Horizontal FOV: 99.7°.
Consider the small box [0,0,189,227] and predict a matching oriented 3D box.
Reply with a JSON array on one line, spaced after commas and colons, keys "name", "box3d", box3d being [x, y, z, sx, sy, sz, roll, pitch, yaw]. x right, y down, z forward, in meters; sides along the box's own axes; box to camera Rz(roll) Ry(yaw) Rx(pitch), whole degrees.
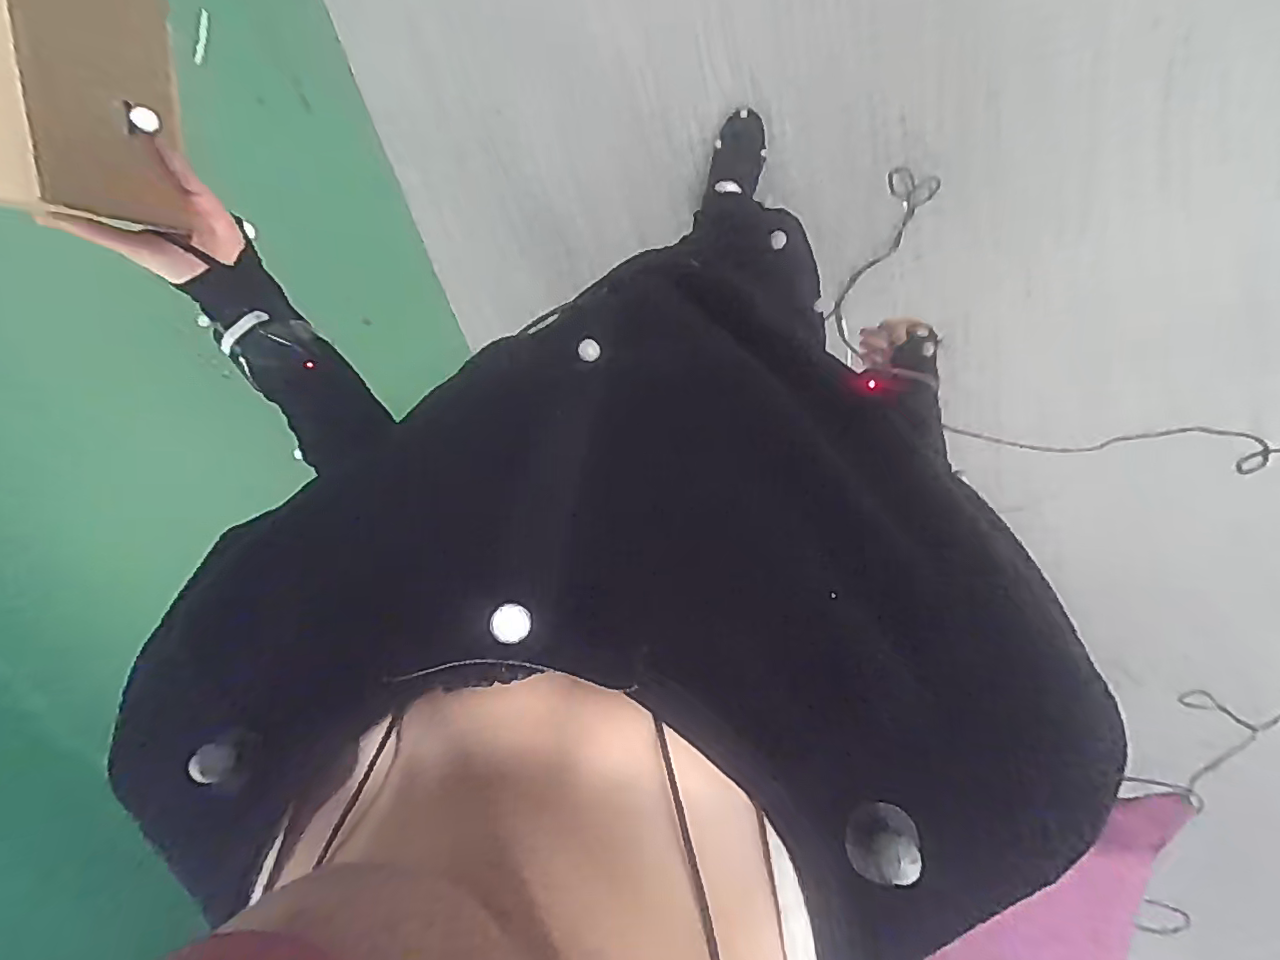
[{"name": "small box", "box3d": [-0.413, -0.265, 0.322, 0.168, 0.179, 0.176, 2, 107, -16]}]
